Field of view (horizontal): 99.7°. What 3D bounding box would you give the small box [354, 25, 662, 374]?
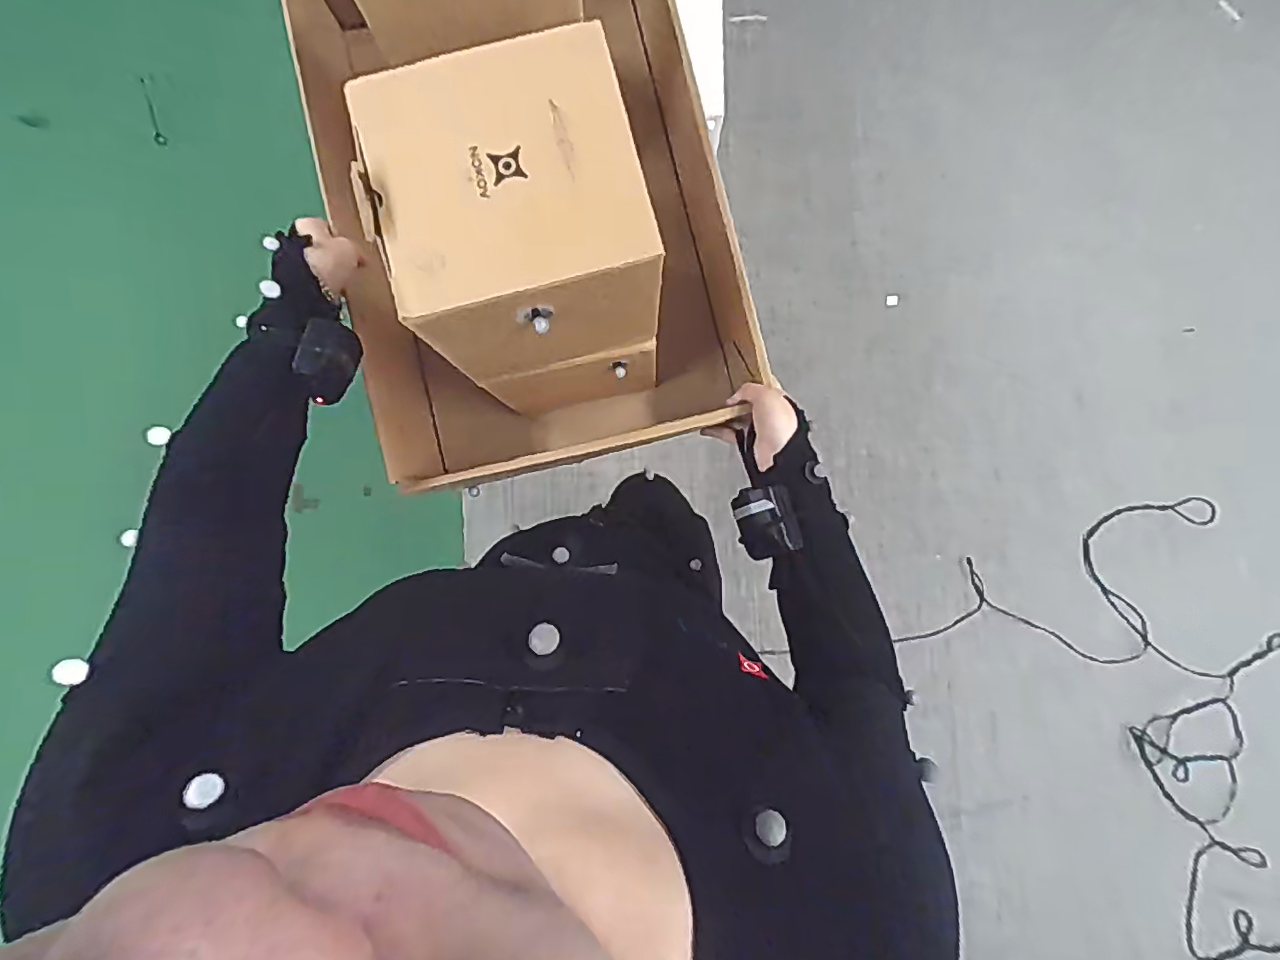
[{"bbox_3d":[-0.087,-0.198,0.433,0.179,0.176,0.168,-15,86,-2],"label":"small box"}]
